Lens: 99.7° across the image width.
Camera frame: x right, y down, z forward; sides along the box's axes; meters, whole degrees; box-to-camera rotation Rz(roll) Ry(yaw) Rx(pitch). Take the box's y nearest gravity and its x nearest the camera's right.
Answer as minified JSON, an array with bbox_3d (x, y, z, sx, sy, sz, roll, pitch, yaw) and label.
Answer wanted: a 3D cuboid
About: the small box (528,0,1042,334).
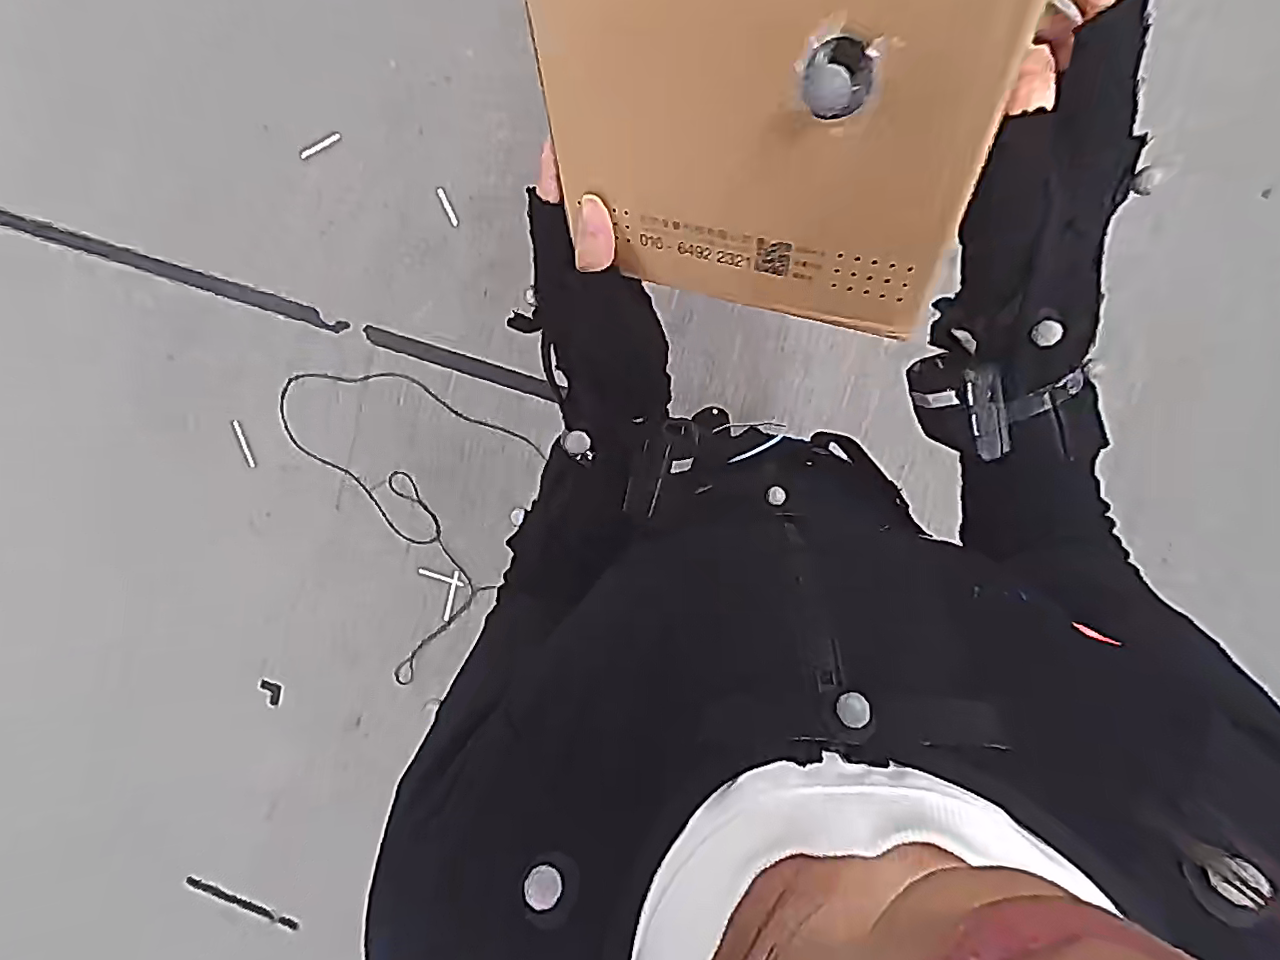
[{"bbox_3d":[0.070,-0.191,0.234,0.168,0.176,0.179,23,58,22],"label":"small box"}]
